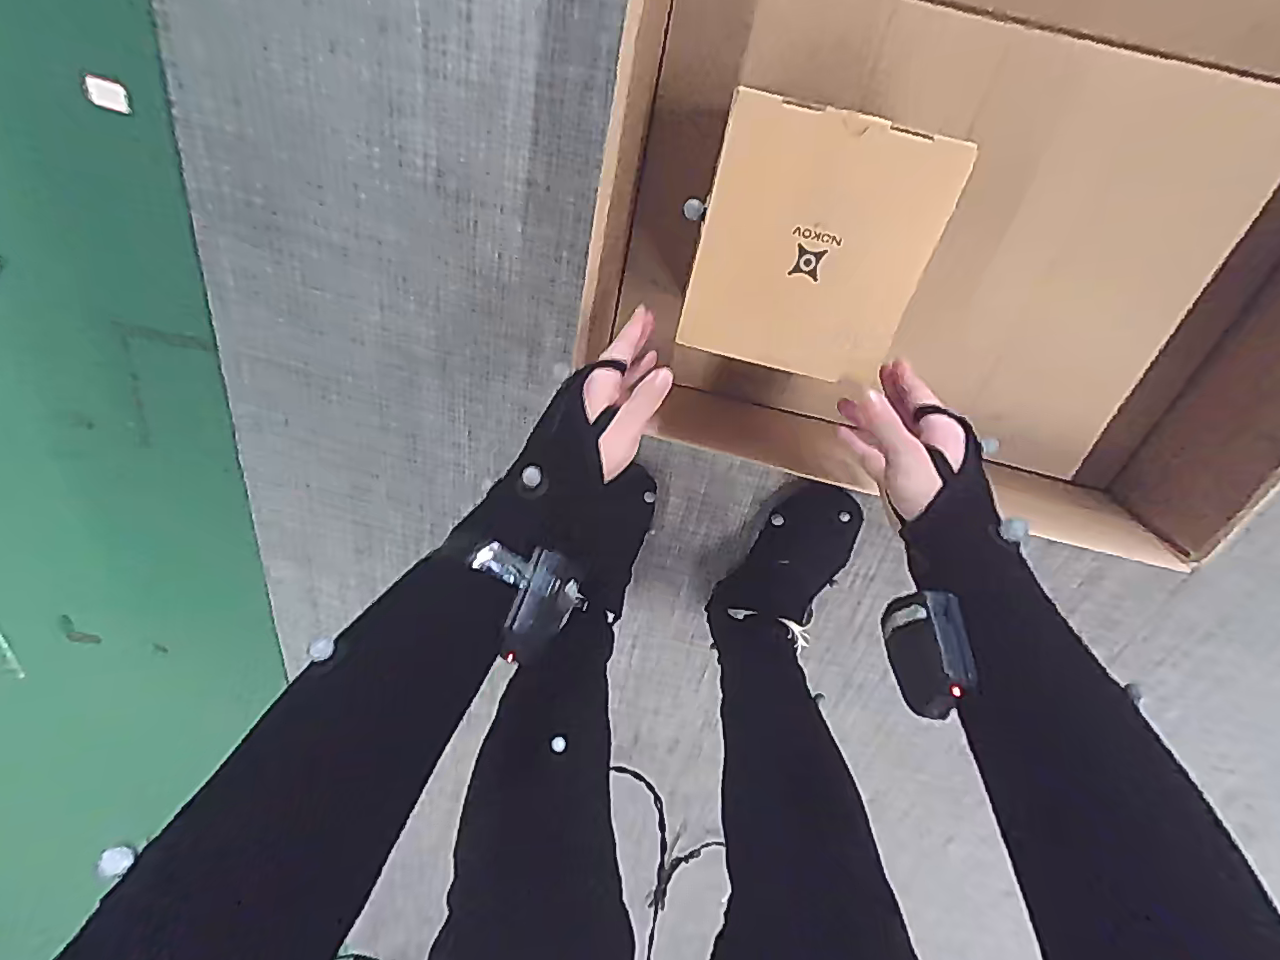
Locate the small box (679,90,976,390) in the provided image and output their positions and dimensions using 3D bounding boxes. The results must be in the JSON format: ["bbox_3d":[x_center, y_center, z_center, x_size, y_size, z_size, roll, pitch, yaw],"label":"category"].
[{"bbox_3d":[0.139,-0.203,0.469,0.168,0.176,0.179,15,118,1],"label":"small box"}]
